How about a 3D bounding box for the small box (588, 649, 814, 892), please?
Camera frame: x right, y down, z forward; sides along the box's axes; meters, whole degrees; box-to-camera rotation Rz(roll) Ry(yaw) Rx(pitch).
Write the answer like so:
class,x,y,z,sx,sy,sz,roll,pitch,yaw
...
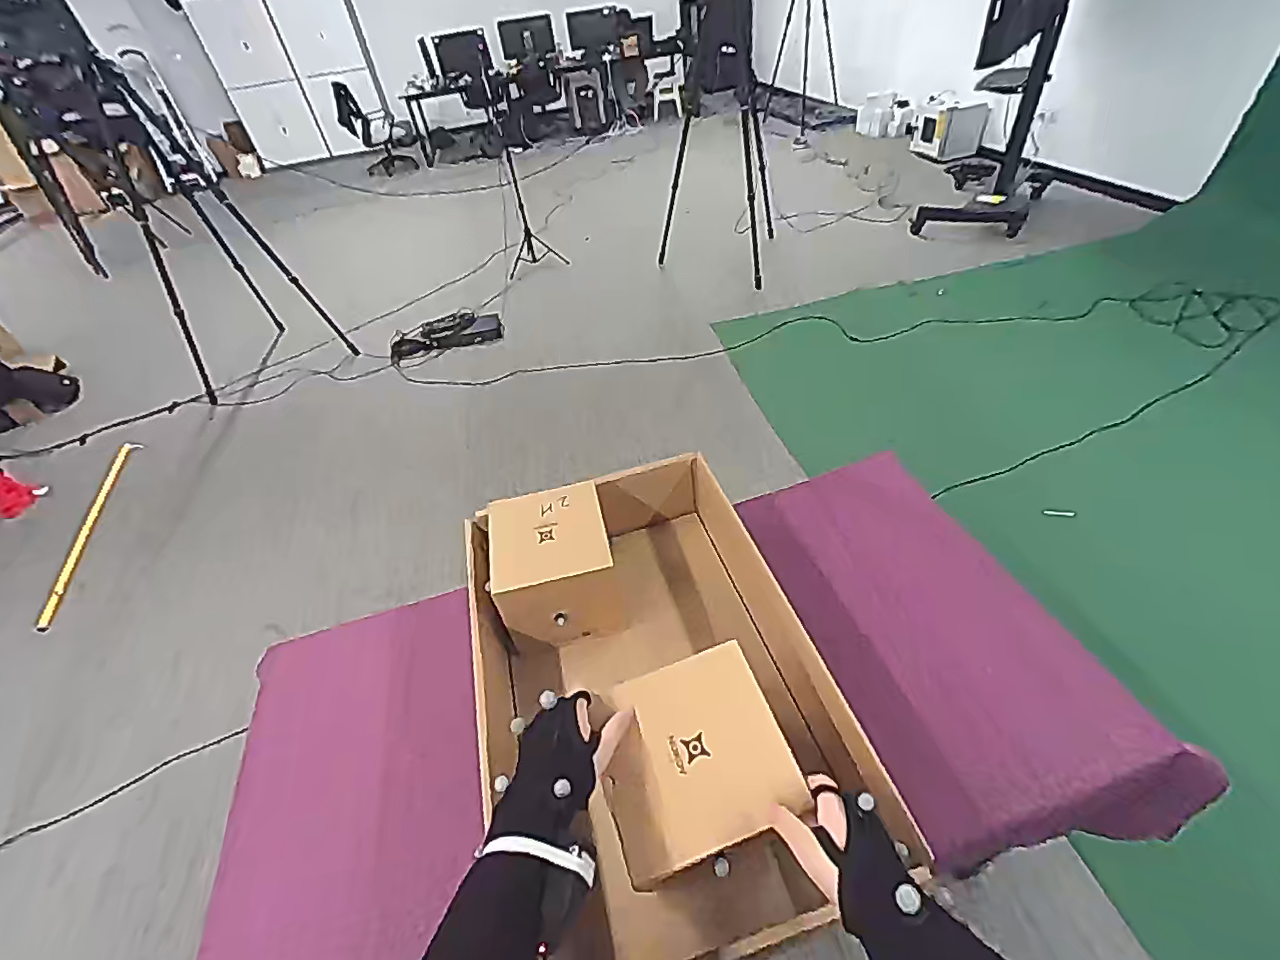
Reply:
class,x,y,z,sx,sy,sz,roll,pitch,yaw
small box,0.061,0.314,0.587,0.179,0.176,0.168,-21,53,-6
